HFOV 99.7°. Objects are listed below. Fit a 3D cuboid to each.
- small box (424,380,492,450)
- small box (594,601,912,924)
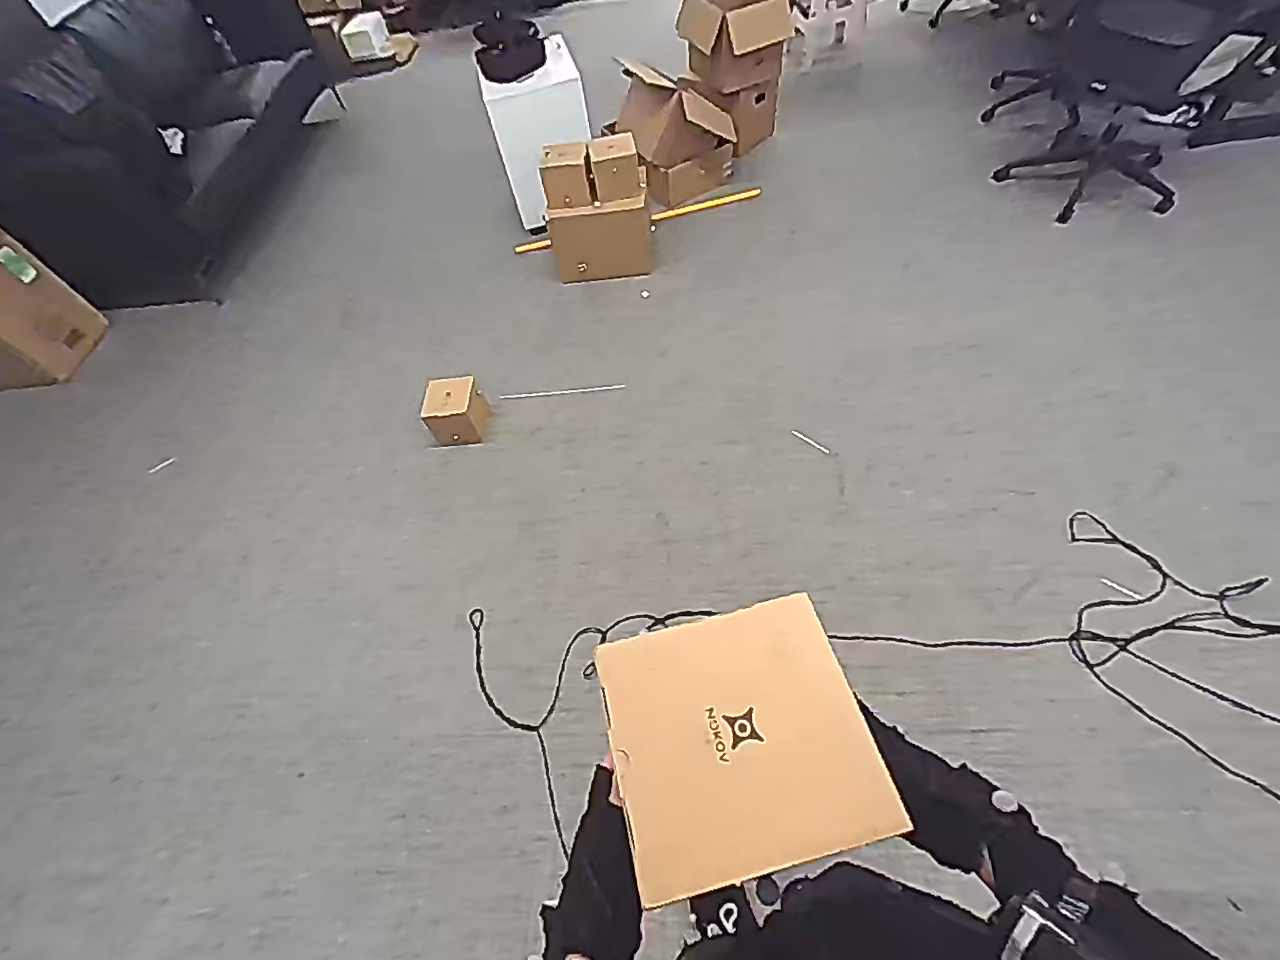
[{"bbox_3d":[-0.643,-0.230,1.931,0.168,0.176,0.179,-5,56,6],"label":"small box"},{"bbox_3d":[0.073,0.221,0.434,0.179,0.176,0.168,-15,55,-3],"label":"small box"}]
